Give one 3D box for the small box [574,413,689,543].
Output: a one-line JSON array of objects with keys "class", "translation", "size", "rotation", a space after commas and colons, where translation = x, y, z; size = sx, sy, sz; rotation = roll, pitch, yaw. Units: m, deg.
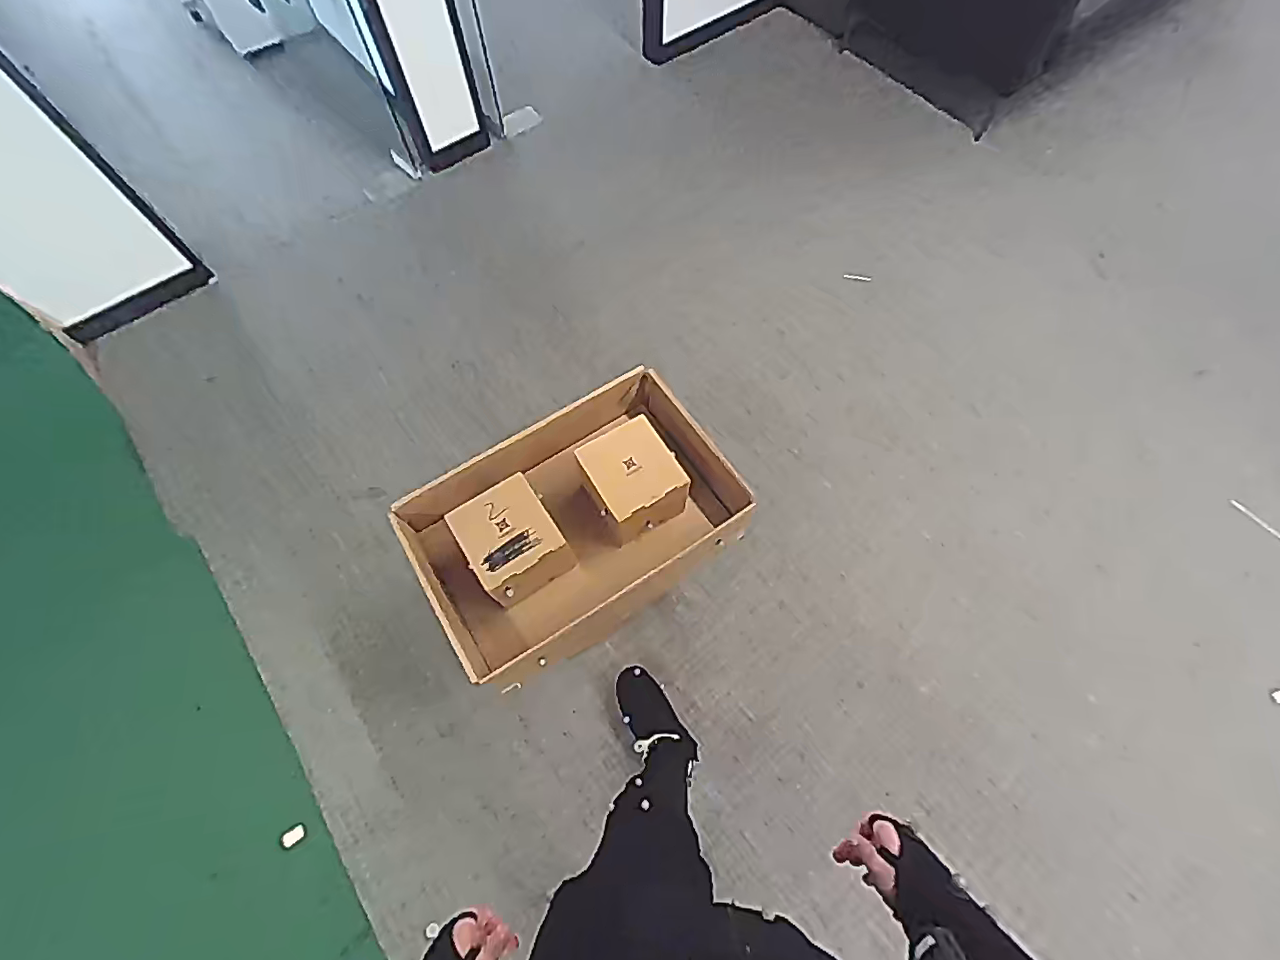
[{"class": "small box", "translation": [-0.019, 0.001, 1.113], "size": [0.168, 0.176, 0.179], "rotation": [-30, 70, -13]}]
